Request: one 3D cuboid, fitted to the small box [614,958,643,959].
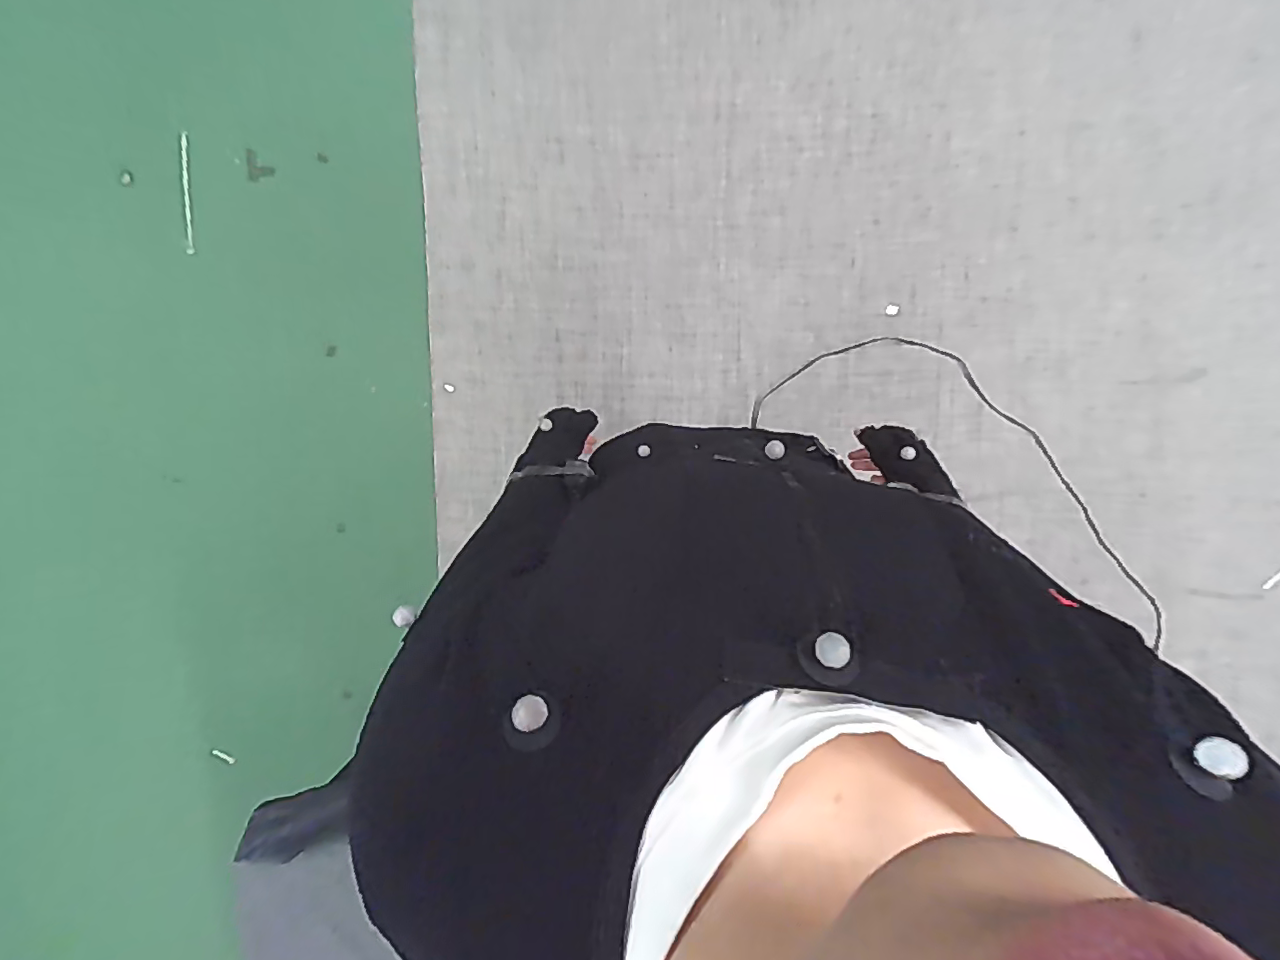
[{"bbox_3d":[0.027,0.816,0.749,0.168,0.176,0.179,-1,96,4],"label":"small box"}]
